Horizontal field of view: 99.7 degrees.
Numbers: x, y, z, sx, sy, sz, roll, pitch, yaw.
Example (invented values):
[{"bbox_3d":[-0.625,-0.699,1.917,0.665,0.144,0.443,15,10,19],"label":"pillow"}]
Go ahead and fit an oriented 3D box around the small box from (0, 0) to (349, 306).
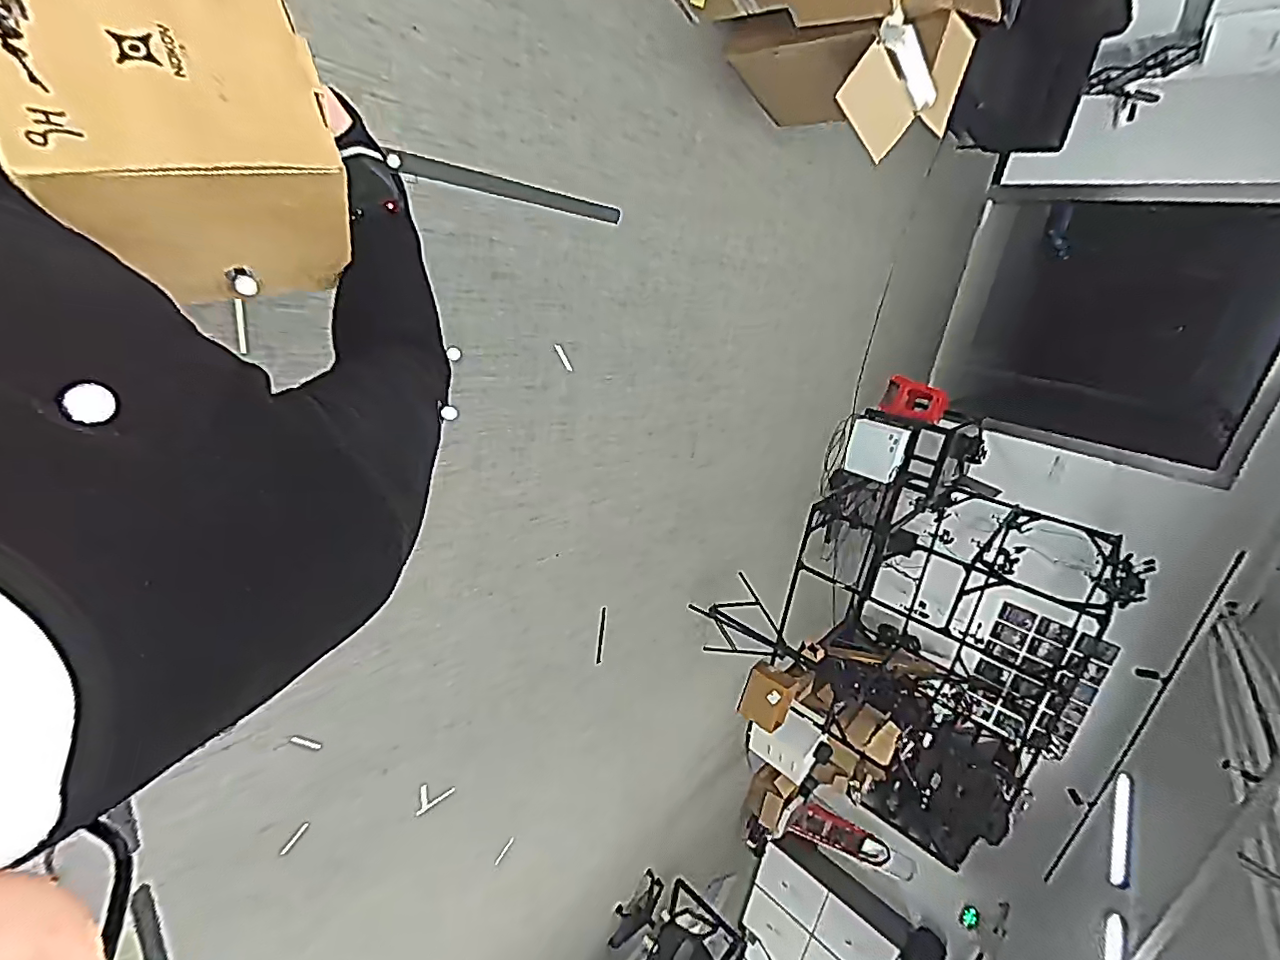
[{"bbox_3d":[-0.351,-0.259,0.431,0.179,0.176,0.168,-19,88,-29],"label":"small box"}]
